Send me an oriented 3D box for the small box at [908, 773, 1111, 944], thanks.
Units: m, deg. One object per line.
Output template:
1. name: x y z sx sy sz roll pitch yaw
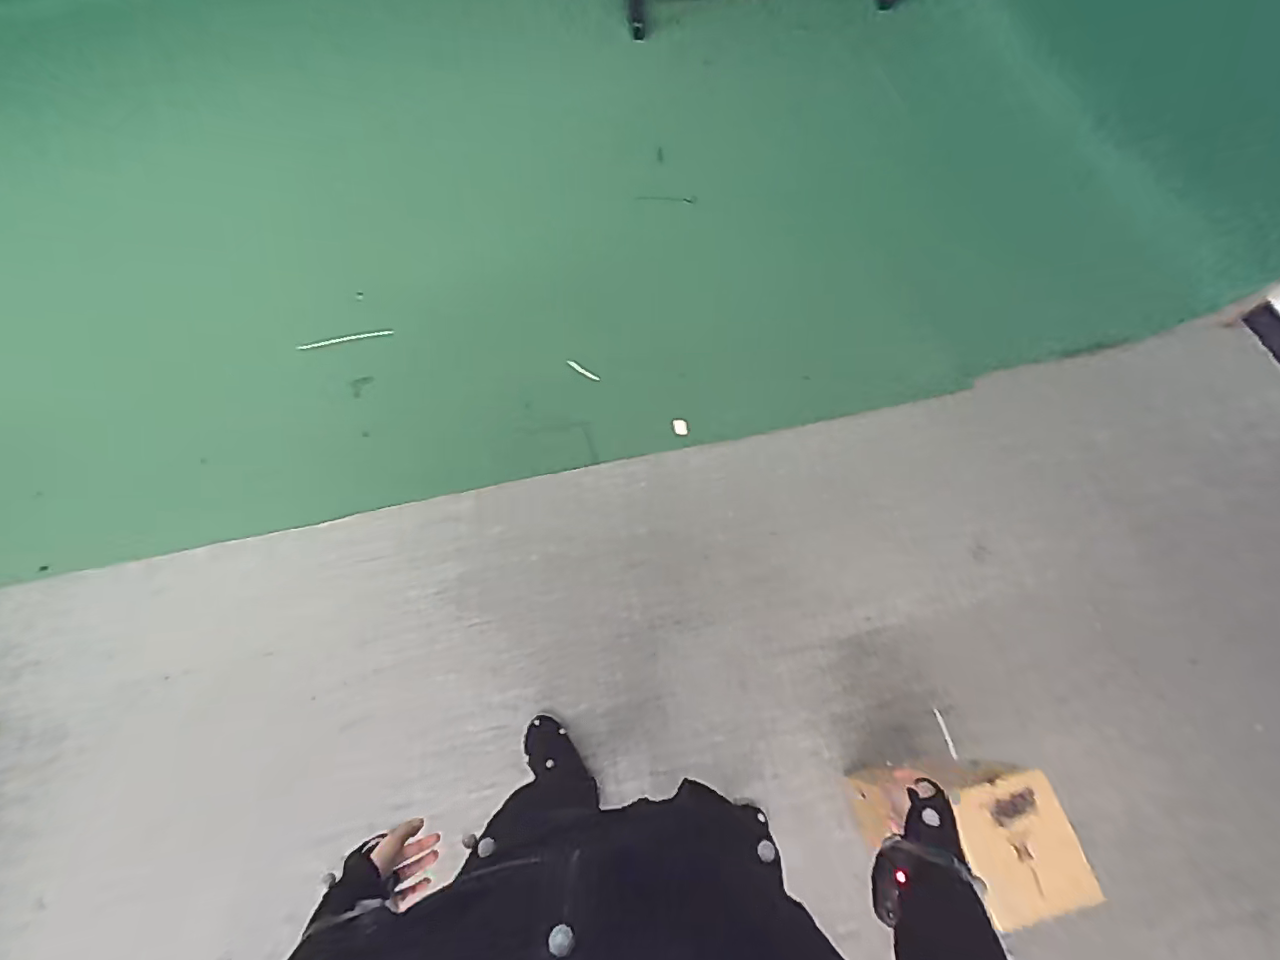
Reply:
1. small box: 0.557 0.574 0.848 0.168 0.176 0.179 -13 66 -4

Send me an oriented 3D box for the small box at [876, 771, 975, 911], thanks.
1. small box: 0.559 0.651 0.995 0.179 0.176 0.168 -14 66 -3
